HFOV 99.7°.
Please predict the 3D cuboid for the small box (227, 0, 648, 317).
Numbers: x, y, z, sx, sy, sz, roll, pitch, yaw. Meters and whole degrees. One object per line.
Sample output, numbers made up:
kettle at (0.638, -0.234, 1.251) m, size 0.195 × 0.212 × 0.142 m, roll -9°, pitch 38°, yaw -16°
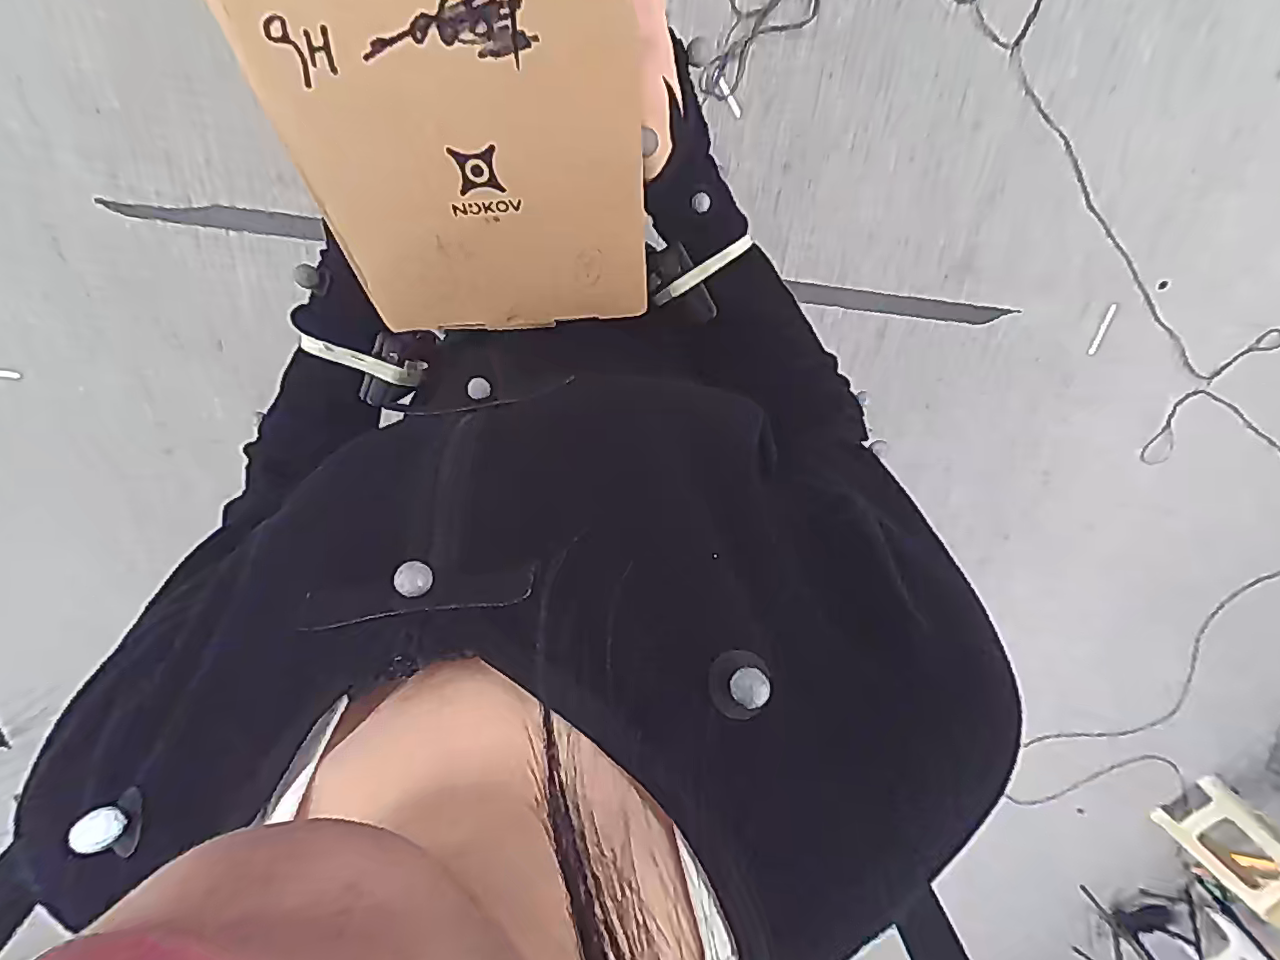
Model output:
small box at (-0.083, -0.222, 0.312) m, size 0.168 × 0.176 × 0.179 m, roll -5°, pitch 147°, yaw -1°
